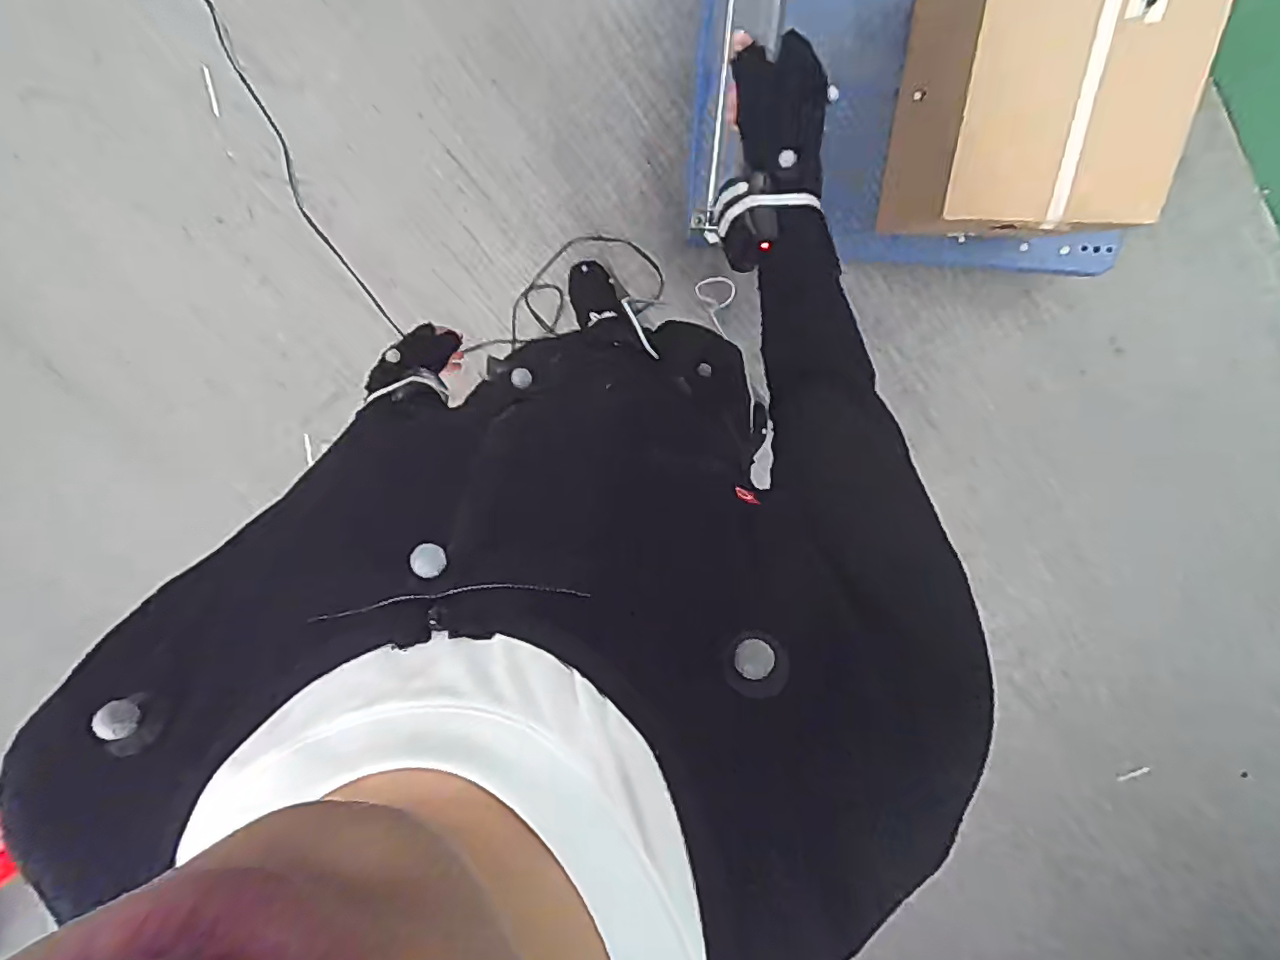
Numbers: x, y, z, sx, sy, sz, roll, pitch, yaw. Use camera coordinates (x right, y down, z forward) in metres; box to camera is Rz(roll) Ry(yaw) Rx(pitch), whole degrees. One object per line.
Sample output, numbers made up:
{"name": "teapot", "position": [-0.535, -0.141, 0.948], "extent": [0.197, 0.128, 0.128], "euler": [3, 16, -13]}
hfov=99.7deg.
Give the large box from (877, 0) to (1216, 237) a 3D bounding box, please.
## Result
{"name": "large box", "position": [0.622, -0.629, 0.888], "extent": [0.320, 0.320, 0.408], "euler": [3, 110, 2]}
